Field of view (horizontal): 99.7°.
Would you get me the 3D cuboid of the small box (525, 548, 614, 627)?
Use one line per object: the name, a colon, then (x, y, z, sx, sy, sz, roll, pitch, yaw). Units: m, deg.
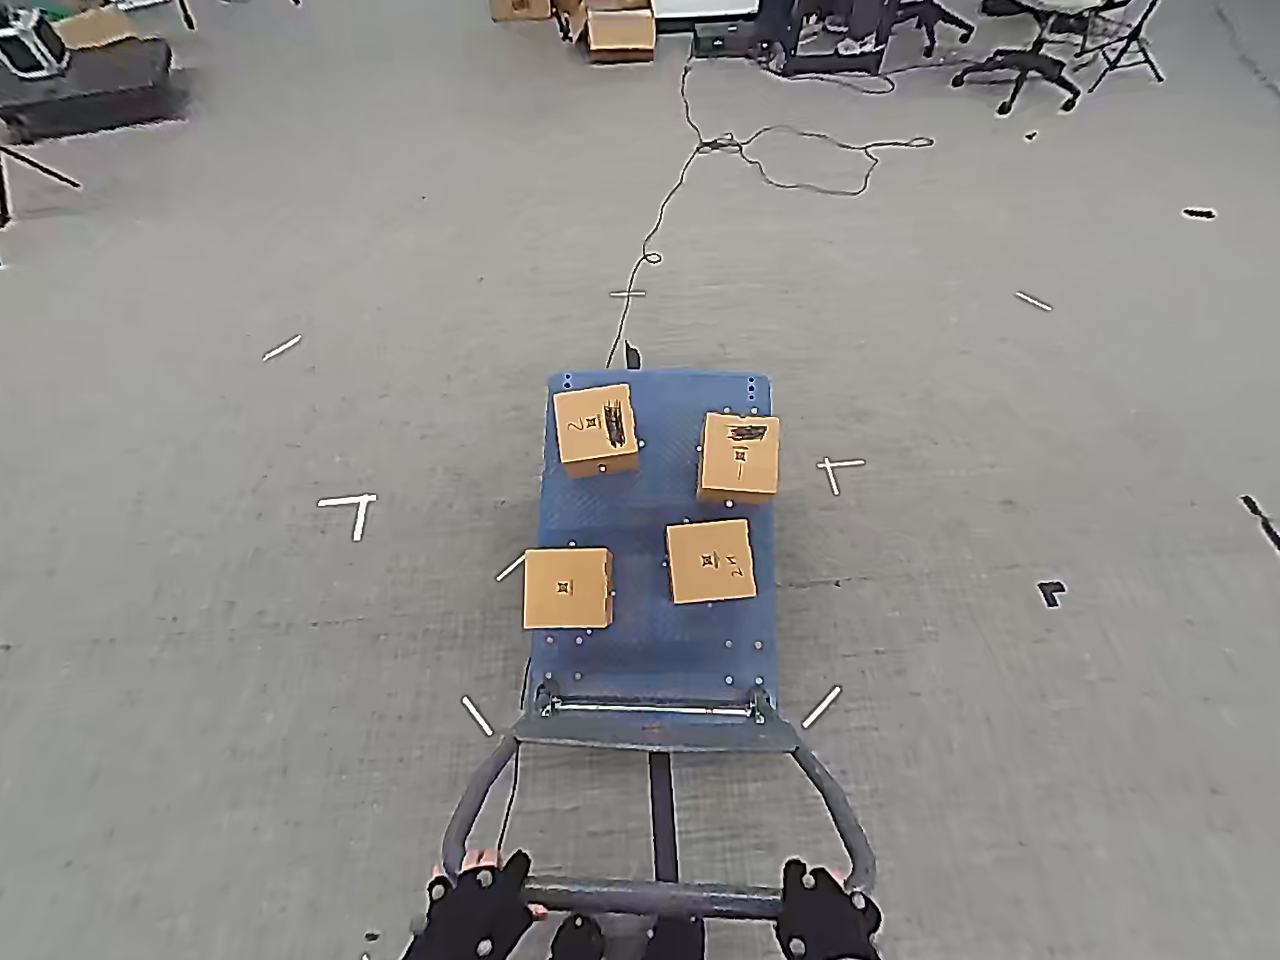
small box: (-0.152, 0.245, 1.220, 0.179, 0.176, 0.168, -1, 78, 0)

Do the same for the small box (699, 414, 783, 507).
small box: (0.230, -0.040, 1.267, 0.168, 0.176, 0.179, 5, 79, 3)

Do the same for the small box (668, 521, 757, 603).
small box: (0.156, 0.190, 1.219, 0.179, 0.176, 0.168, -5, 78, 1)
